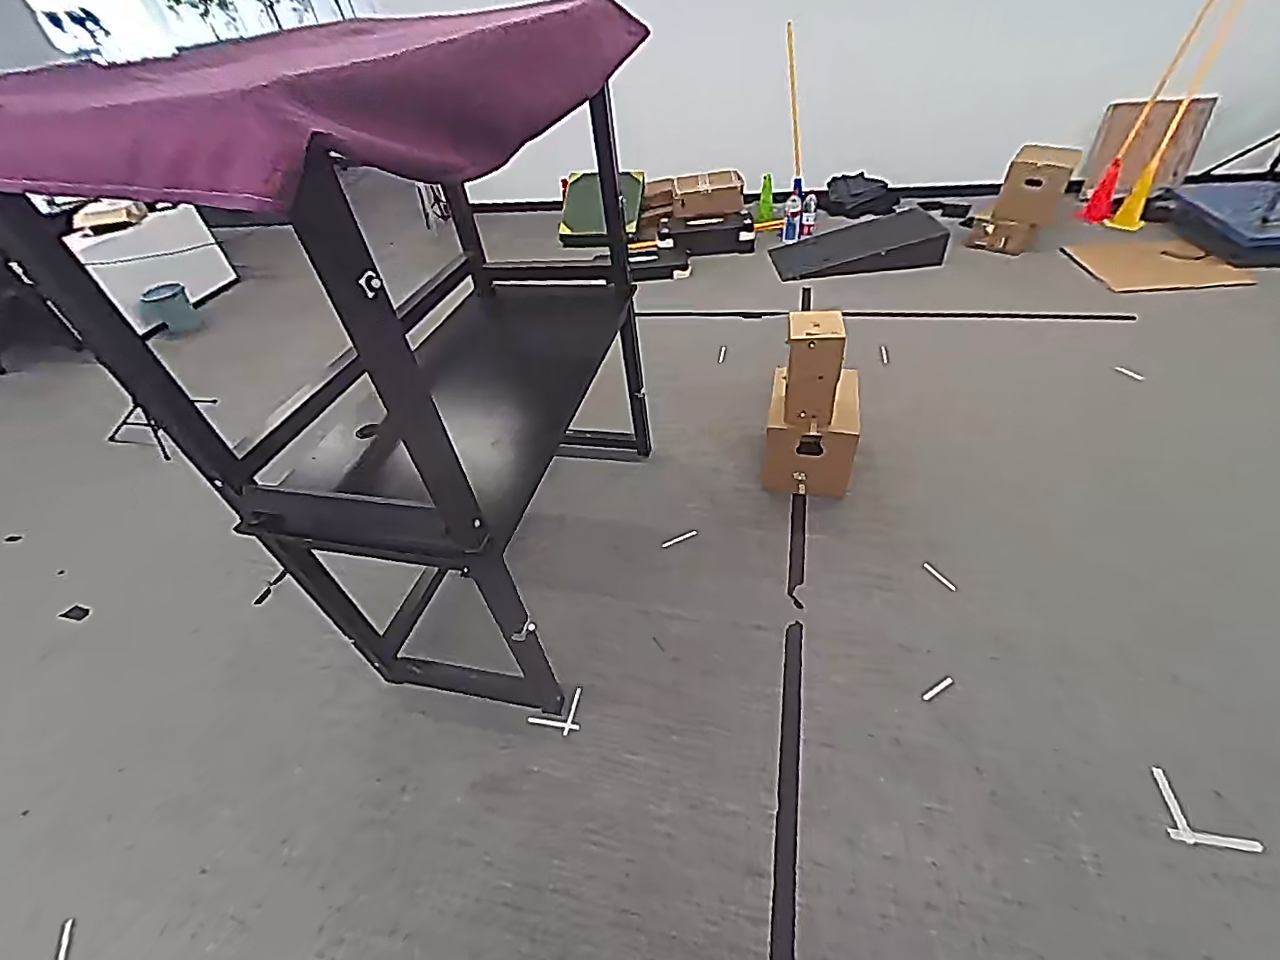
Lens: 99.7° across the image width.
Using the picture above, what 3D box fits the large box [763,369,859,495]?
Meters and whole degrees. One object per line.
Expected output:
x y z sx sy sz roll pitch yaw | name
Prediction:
0.651 -0.190 2.099 0.320 0.320 0.408 6 44 13 | large box

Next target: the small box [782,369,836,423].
0.588 -0.322 1.891 0.168 0.176 0.179 4 45 14 | small box

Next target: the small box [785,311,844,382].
0.568 -0.439 1.778 0.168 0.176 0.179 1 43 13 | small box
